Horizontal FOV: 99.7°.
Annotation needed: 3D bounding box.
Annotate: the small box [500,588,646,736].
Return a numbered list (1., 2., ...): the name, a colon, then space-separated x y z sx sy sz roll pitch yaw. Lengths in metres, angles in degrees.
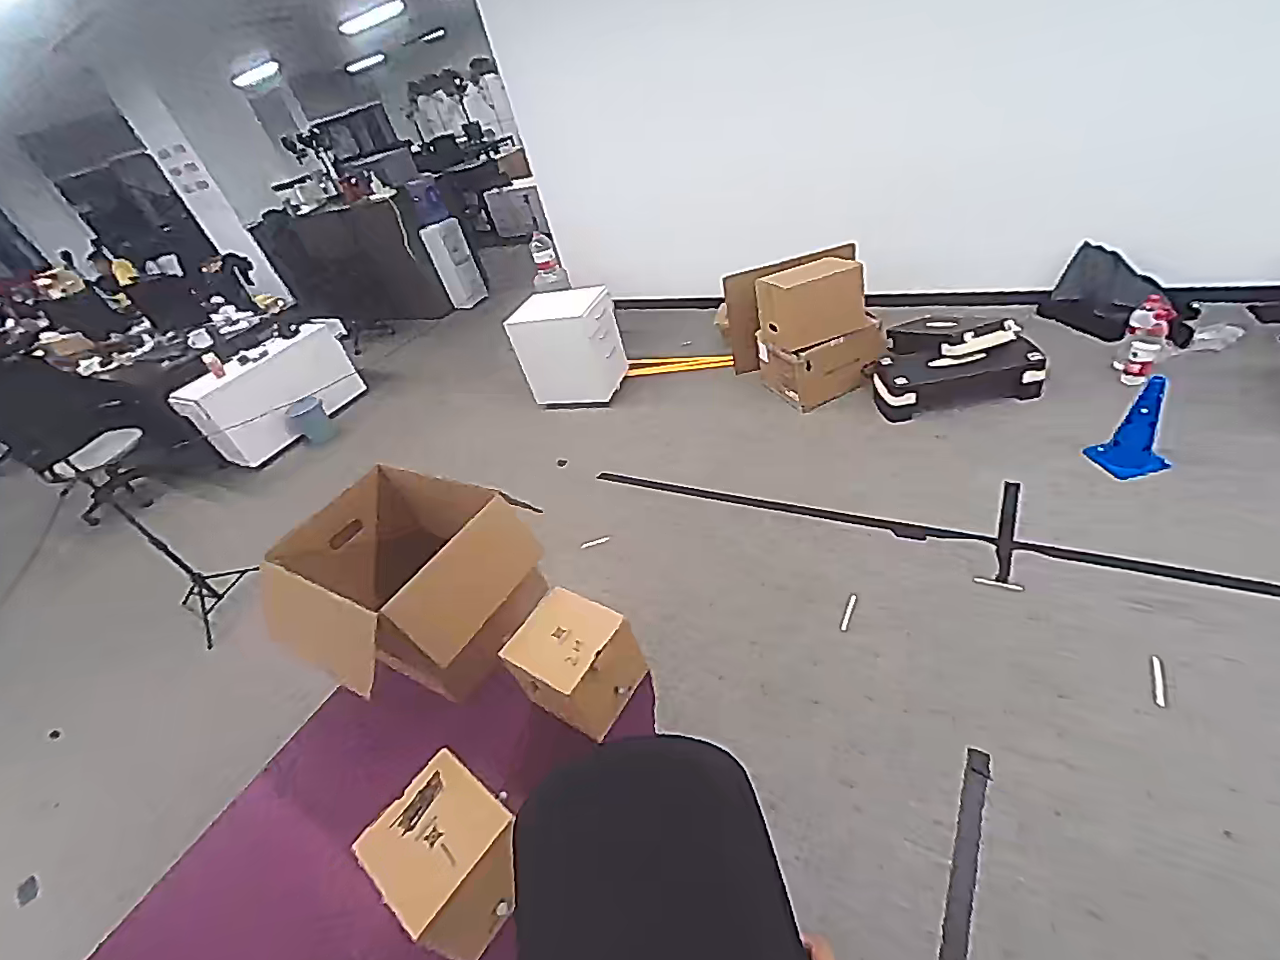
1. small box: -0.116 0.333 0.991 0.179 0.176 0.168 14 49 35
